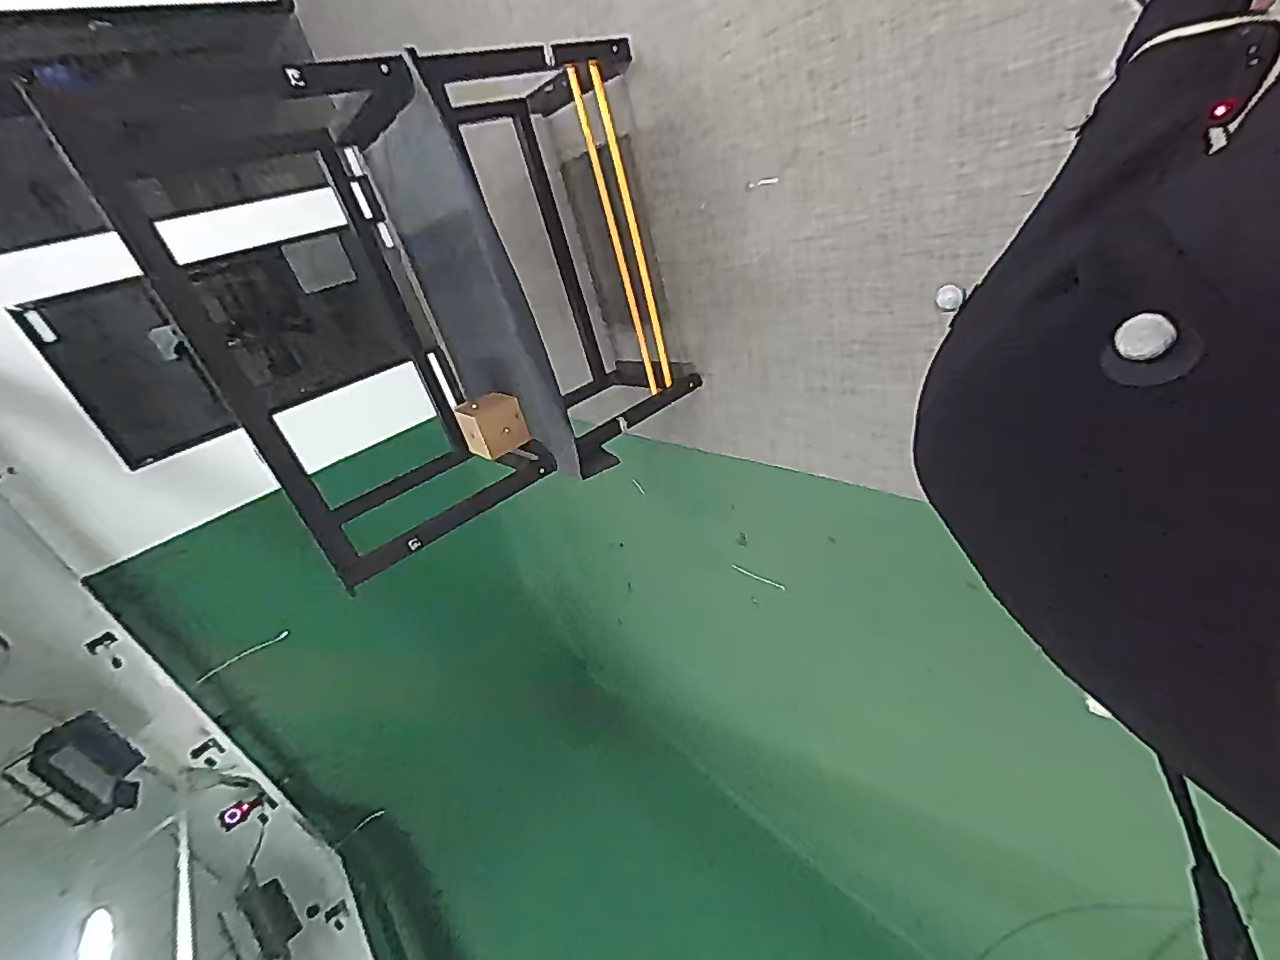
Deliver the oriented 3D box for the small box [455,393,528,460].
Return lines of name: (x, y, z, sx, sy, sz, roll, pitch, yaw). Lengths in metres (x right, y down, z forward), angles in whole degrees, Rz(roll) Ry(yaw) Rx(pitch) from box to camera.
small box: (-0.513, -0.195, 1.895, 0.179, 0.176, 0.168, 20, 133, 47)
